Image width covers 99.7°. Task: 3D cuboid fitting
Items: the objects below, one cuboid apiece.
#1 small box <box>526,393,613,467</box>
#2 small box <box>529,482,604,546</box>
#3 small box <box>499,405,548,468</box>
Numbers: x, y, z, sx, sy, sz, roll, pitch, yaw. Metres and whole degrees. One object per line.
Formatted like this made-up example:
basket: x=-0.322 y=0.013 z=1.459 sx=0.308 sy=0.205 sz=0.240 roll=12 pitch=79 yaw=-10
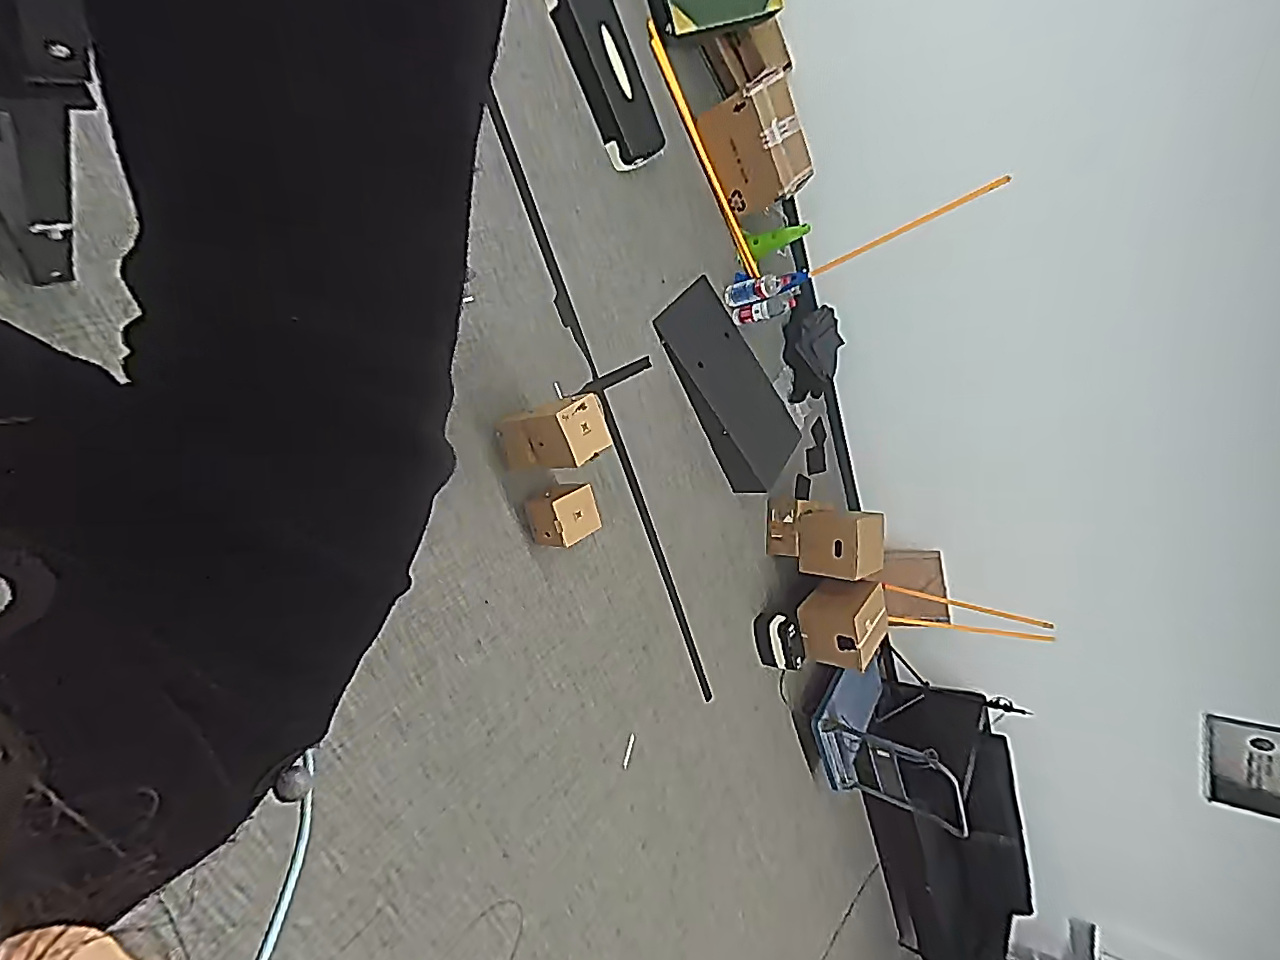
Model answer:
small box: x=-0.218 y=-0.152 z=1.659 sx=0.168 sy=0.176 sz=0.179 roll=-39 pitch=118 yaw=-41
small box: x=-0.259 y=0.115 z=1.853 sx=0.179 sy=0.176 sz=0.168 roll=-30 pitch=111 yaw=-44
small box: x=-0.338 y=-0.143 z=1.771 sx=0.179 sy=0.176 sz=0.168 roll=-34 pitch=113 yaw=-43
